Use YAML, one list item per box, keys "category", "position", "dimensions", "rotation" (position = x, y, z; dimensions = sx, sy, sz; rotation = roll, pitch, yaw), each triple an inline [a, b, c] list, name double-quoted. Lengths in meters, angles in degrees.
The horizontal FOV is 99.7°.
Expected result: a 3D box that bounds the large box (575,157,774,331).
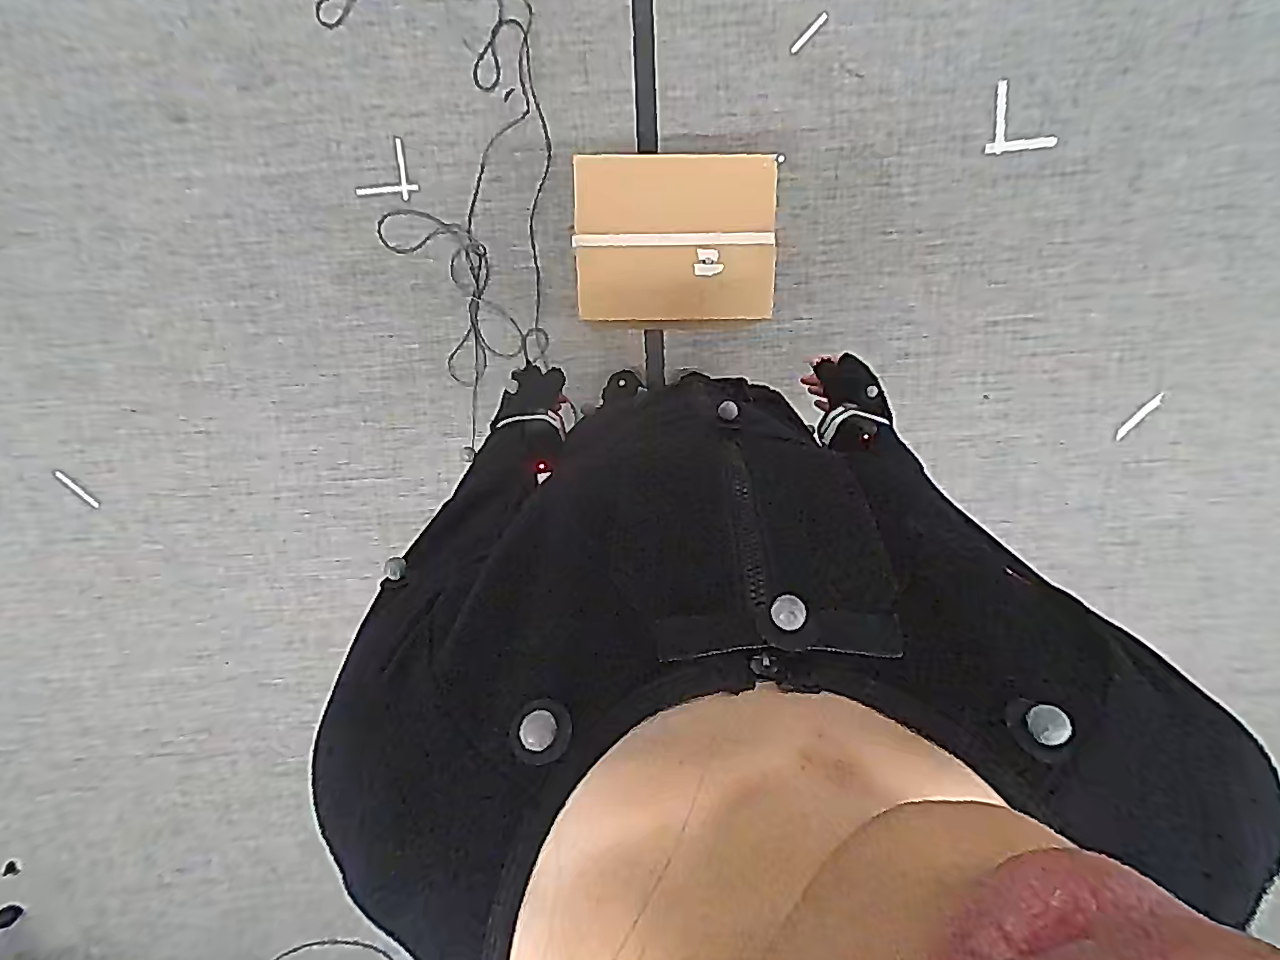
- category: "large box"
  position: [0.068, -0.518, 1.248]
  dimensions: [0.408, 0.320, 0.320]
  rotation: [-1, 103, -1]
